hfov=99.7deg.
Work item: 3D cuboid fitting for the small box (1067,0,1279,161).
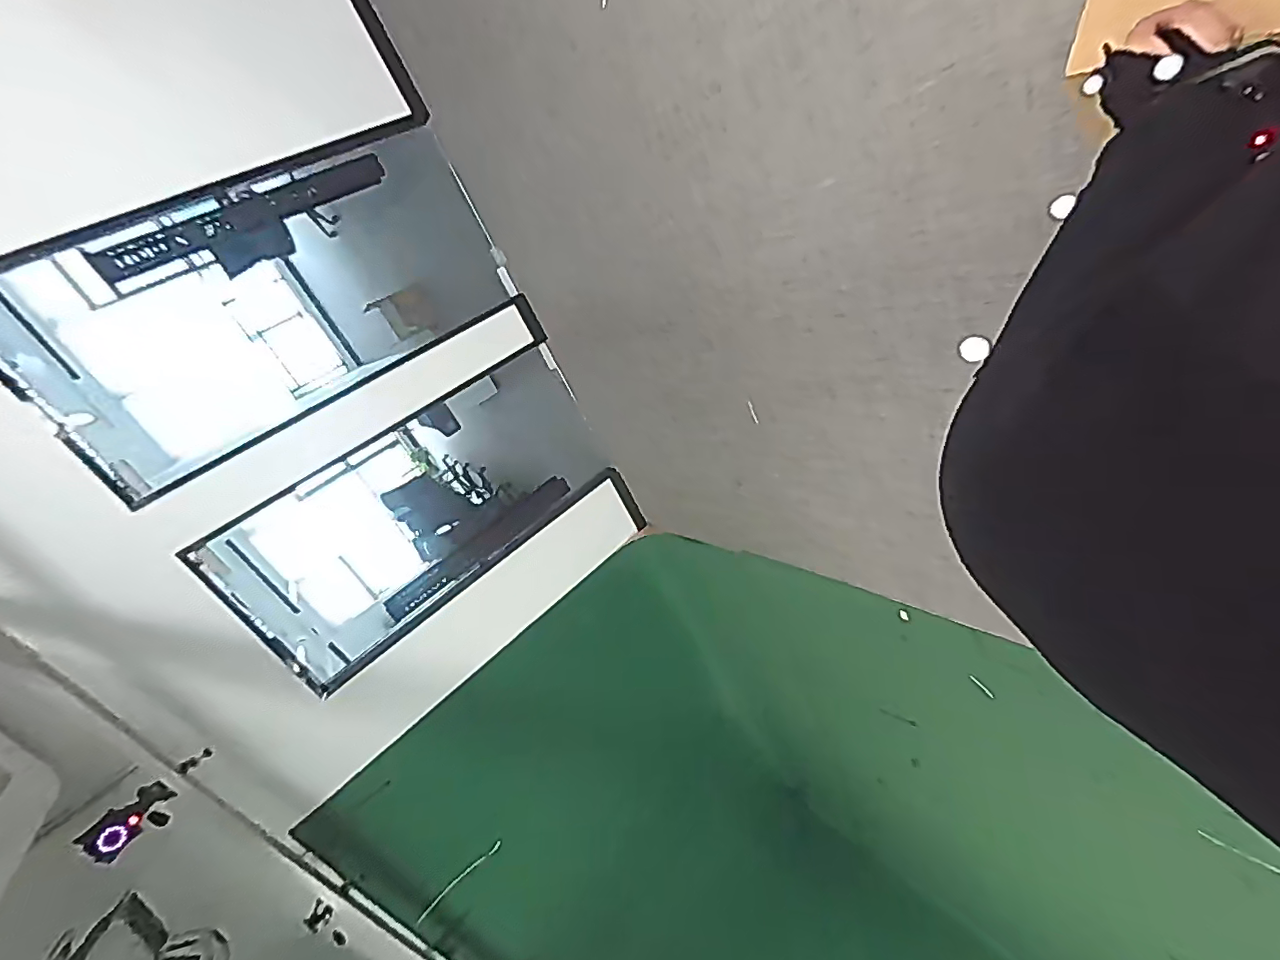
[{"bbox_3d":[0.535,-0.438,0.508,0.168,0.179,0.176,19,104,44],"label":"small box"}]
